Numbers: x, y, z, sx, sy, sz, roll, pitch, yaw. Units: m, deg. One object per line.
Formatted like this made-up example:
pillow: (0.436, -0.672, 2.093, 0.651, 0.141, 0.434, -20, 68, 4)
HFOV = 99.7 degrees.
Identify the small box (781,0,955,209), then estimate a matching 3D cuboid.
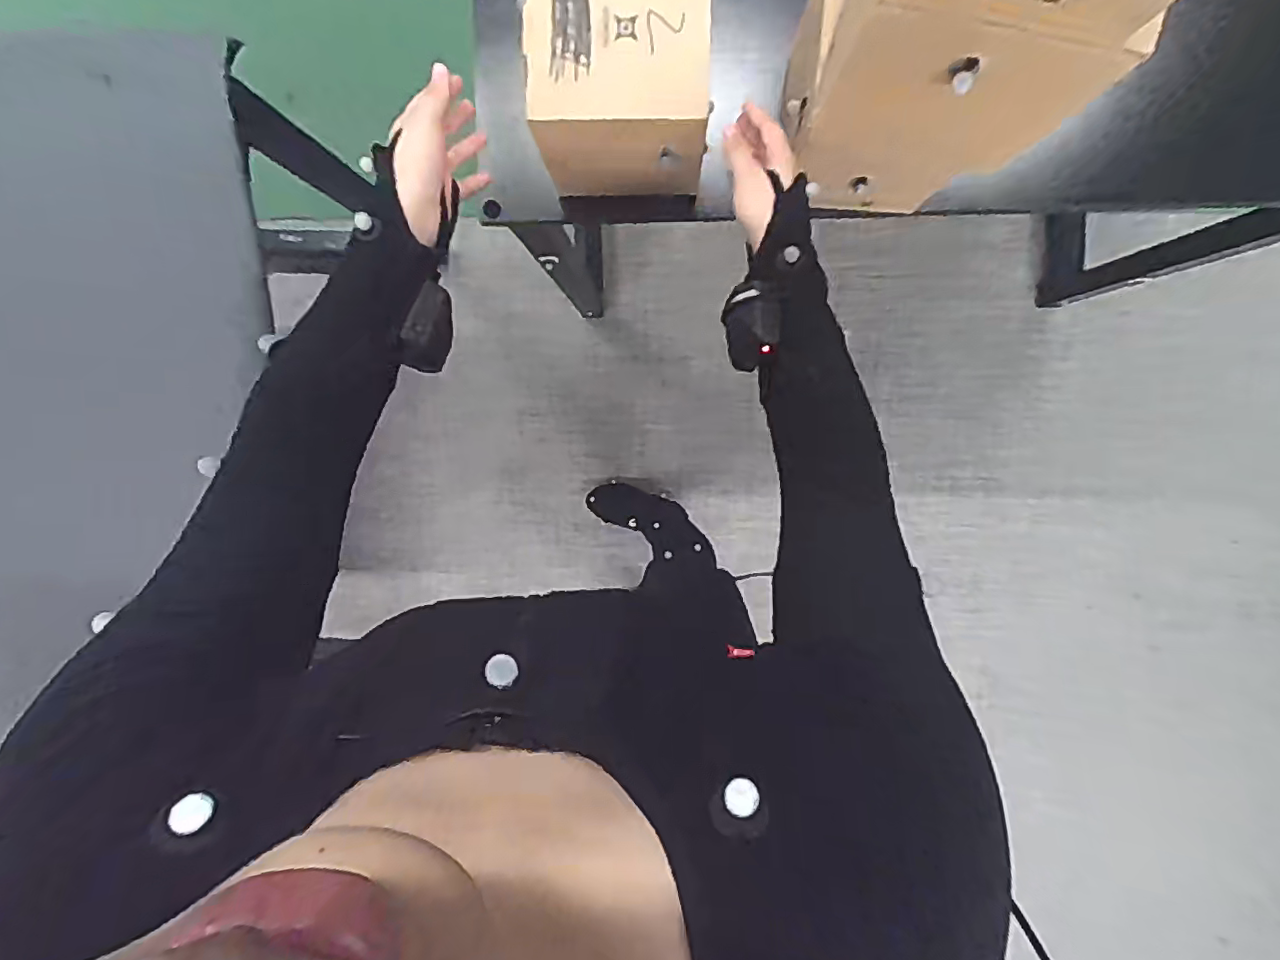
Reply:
small box: (0.250, -0.403, 0.564, 0.168, 0.176, 0.179, 4, 97, 2)

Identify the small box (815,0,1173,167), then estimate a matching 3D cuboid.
small box: (0.255, -0.364, 0.405, 0.179, 0.176, 0.168, 12, 97, 2)
